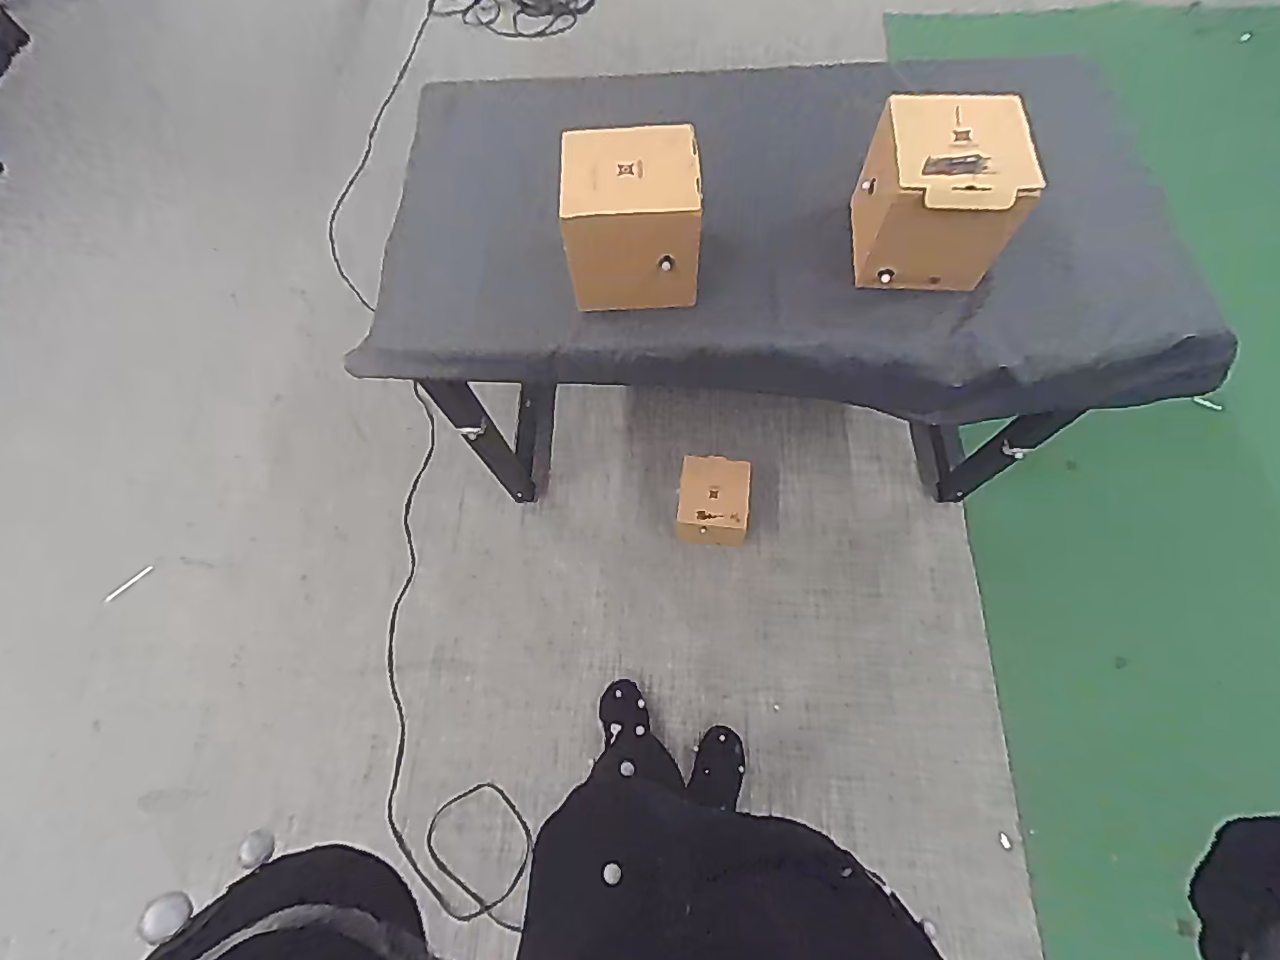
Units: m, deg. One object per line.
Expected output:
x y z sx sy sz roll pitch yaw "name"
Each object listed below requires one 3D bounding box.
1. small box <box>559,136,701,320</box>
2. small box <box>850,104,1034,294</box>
-0.011 -0.348 0.766 0.179 0.176 0.168 -4 65 3 "small box"
0.400 -0.380 0.750 0.168 0.176 0.179 4 67 6 "small box"
